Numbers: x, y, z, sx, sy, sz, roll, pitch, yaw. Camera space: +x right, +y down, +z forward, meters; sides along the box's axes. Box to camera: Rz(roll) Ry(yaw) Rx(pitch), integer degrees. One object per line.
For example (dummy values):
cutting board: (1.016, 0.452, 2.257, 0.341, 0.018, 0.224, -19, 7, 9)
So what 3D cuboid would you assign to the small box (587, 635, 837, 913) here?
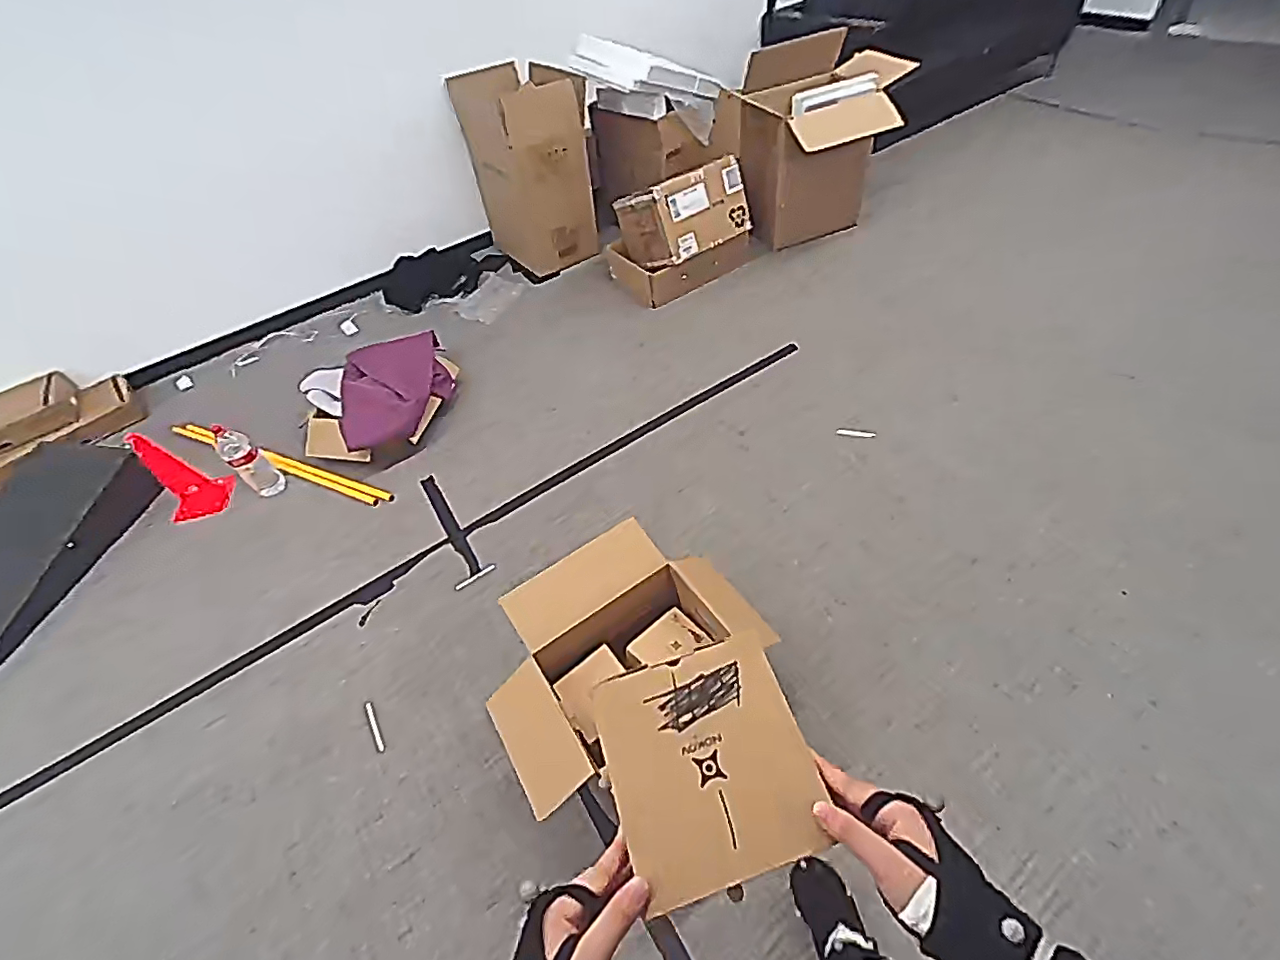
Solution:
small box: (0.056, 0.281, 0.523, 0.168, 0.176, 0.179, -17, 56, -7)
